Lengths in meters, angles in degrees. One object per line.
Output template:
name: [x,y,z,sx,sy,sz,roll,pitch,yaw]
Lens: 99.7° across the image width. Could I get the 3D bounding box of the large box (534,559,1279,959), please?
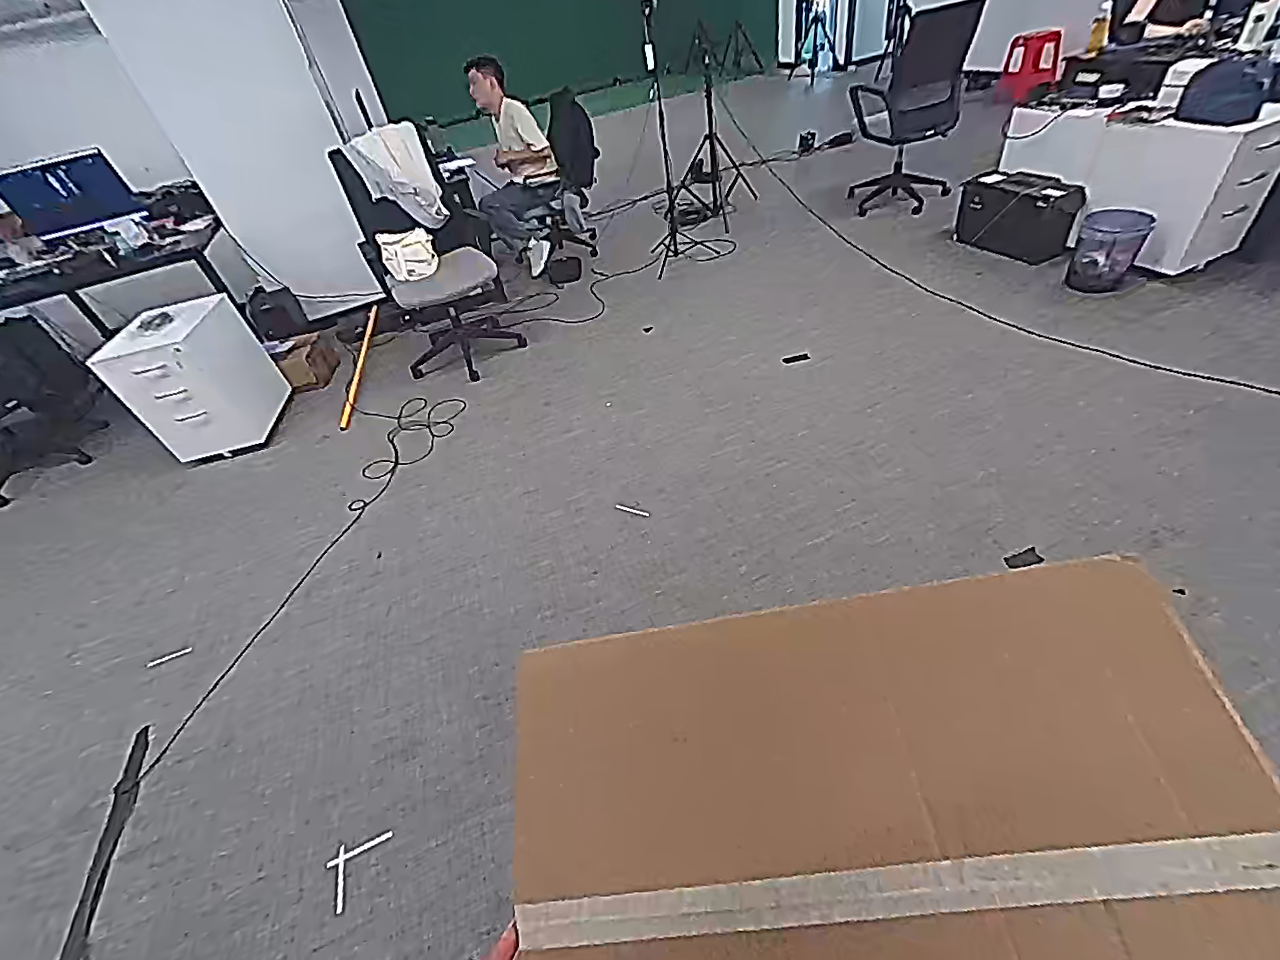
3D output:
large box: [0.161,0.291,0.422,0.408,0.320,0.320,-11,60,9]
